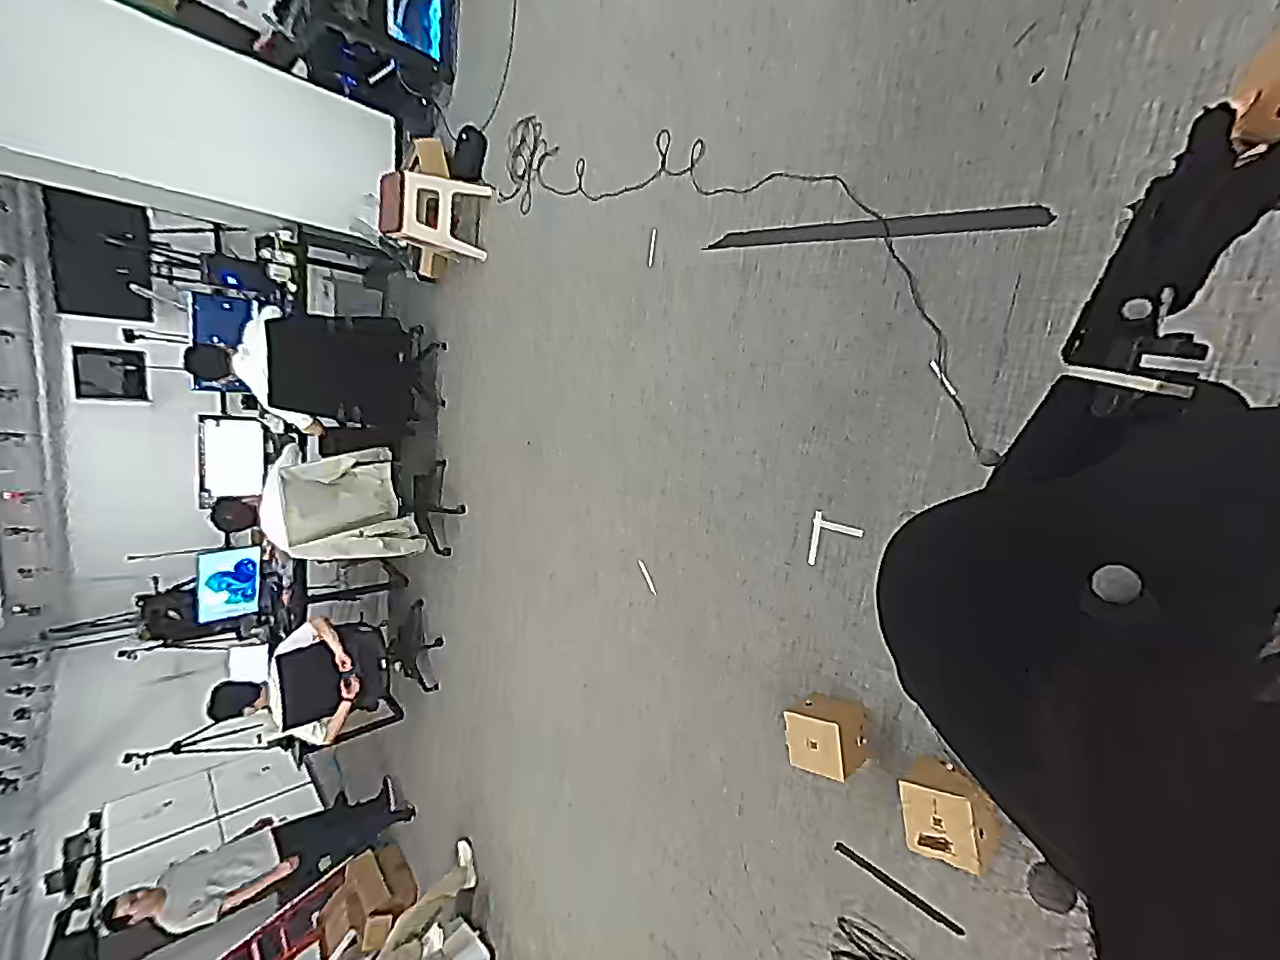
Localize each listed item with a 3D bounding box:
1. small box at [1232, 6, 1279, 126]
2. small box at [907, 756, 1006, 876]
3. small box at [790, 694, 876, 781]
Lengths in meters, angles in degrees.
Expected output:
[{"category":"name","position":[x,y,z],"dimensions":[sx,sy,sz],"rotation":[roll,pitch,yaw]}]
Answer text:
[{"category":"small box","position":[0.557,-0.321,0.348],"dimensions":[0.179,0.176,0.168],"rotation":[34,146,17]},{"category":"small box","position":[0.798,0.833,1.361],"dimensions":[0.168,0.176,0.179],"rotation":[-9,85,46]},{"category":"small box","position":[0.571,0.751,1.601],"dimensions":[0.179,0.176,0.168],"rotation":[-8,88,46]}]
